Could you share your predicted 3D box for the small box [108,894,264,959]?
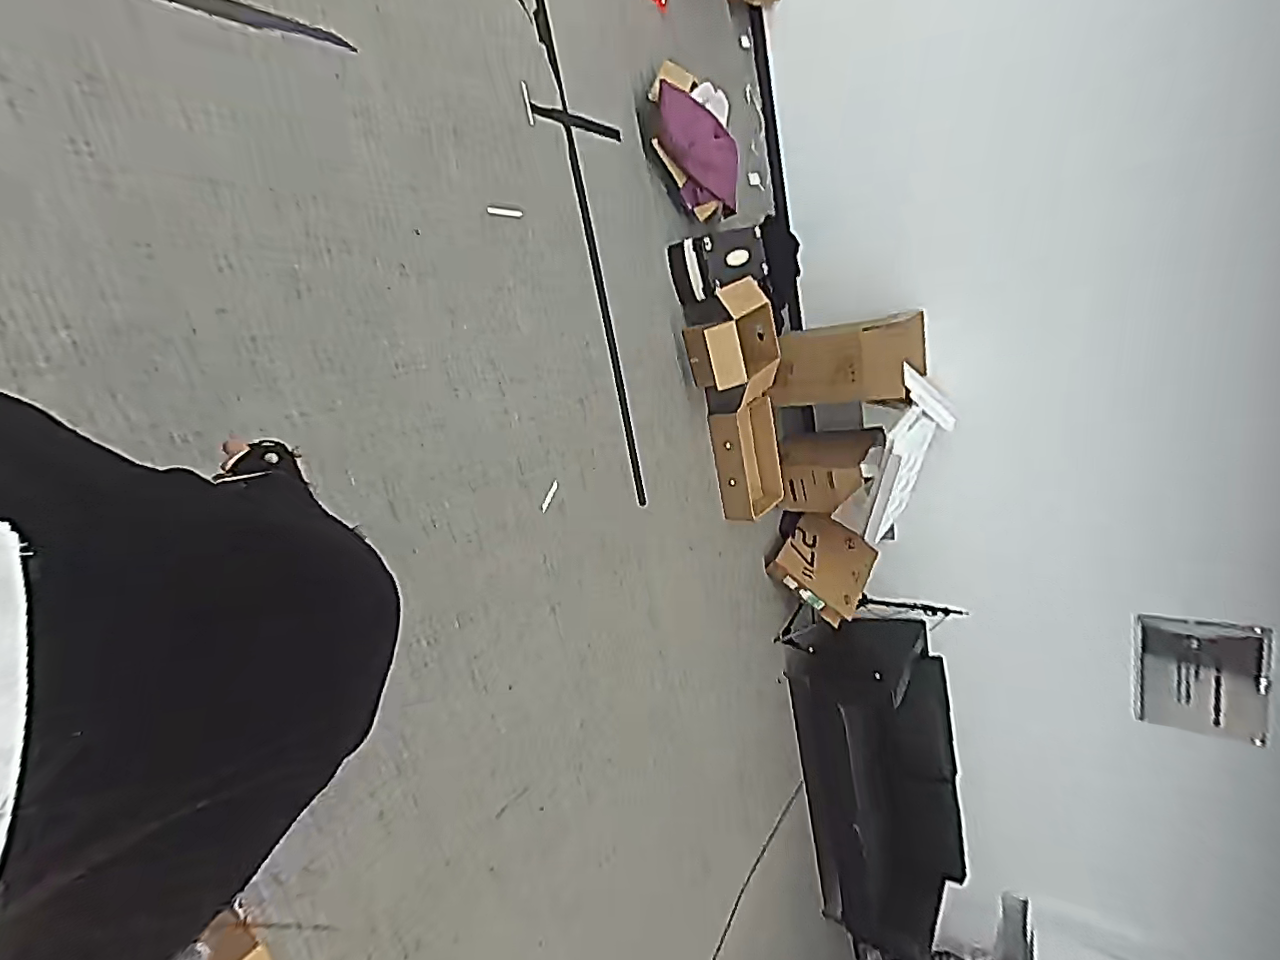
[{"bbox_3d":[-0.532,0.637,0.624,0.168,0.176,0.179,-28,108,-50],"label":"small box"}]
